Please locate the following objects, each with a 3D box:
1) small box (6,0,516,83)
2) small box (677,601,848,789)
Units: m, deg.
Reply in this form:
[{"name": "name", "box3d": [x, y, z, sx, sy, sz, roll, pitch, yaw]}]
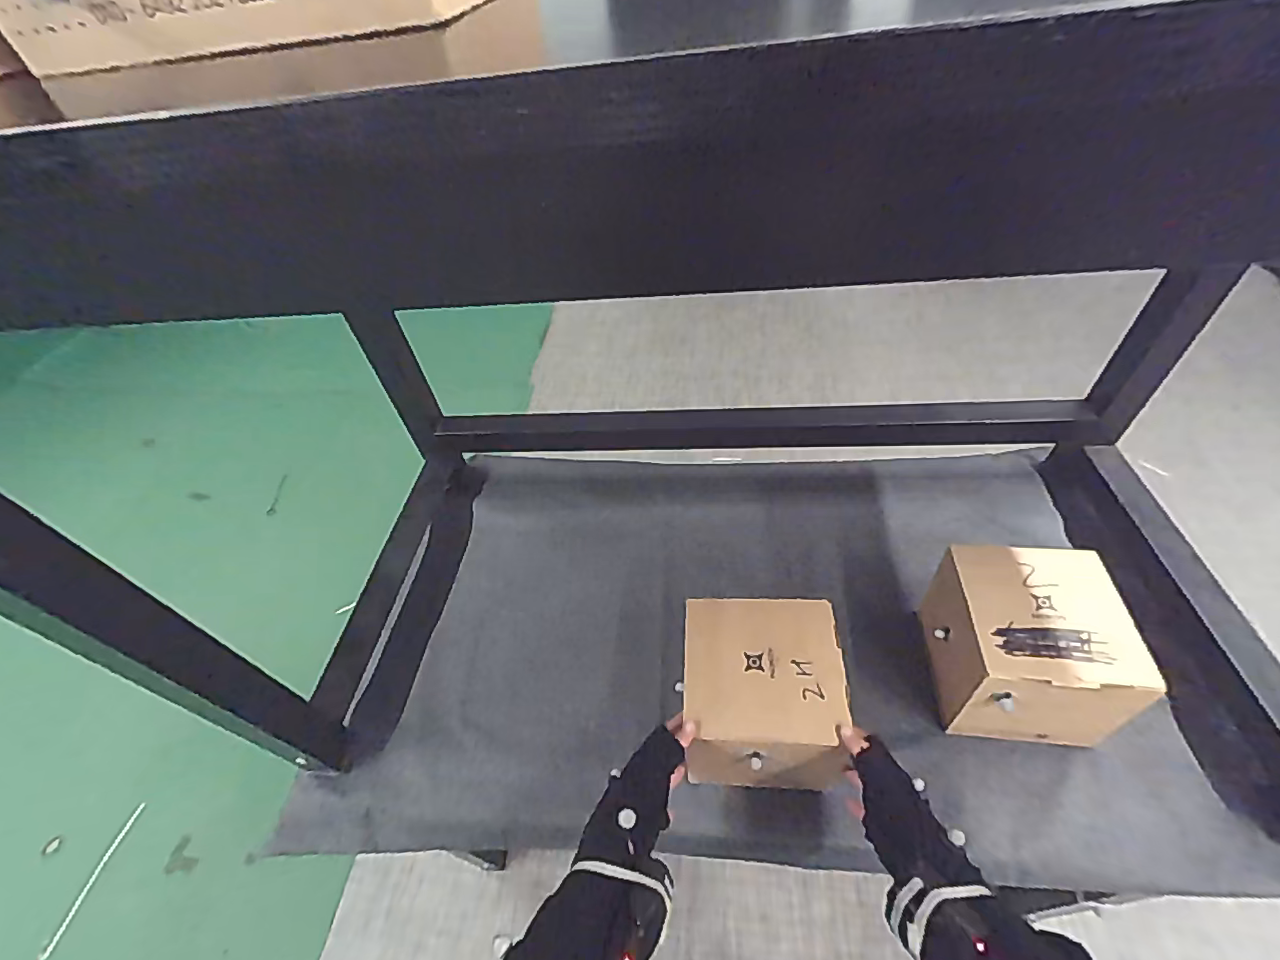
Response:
[{"name": "small box", "box3d": [-0.156, -0.268, 0.202, 0.168, 0.176, 0.179, -1, 46, 7]}, {"name": "small box", "box3d": [0.141, 0.265, 0.663, 0.179, 0.176, 0.168, -1, 47, 8]}]
